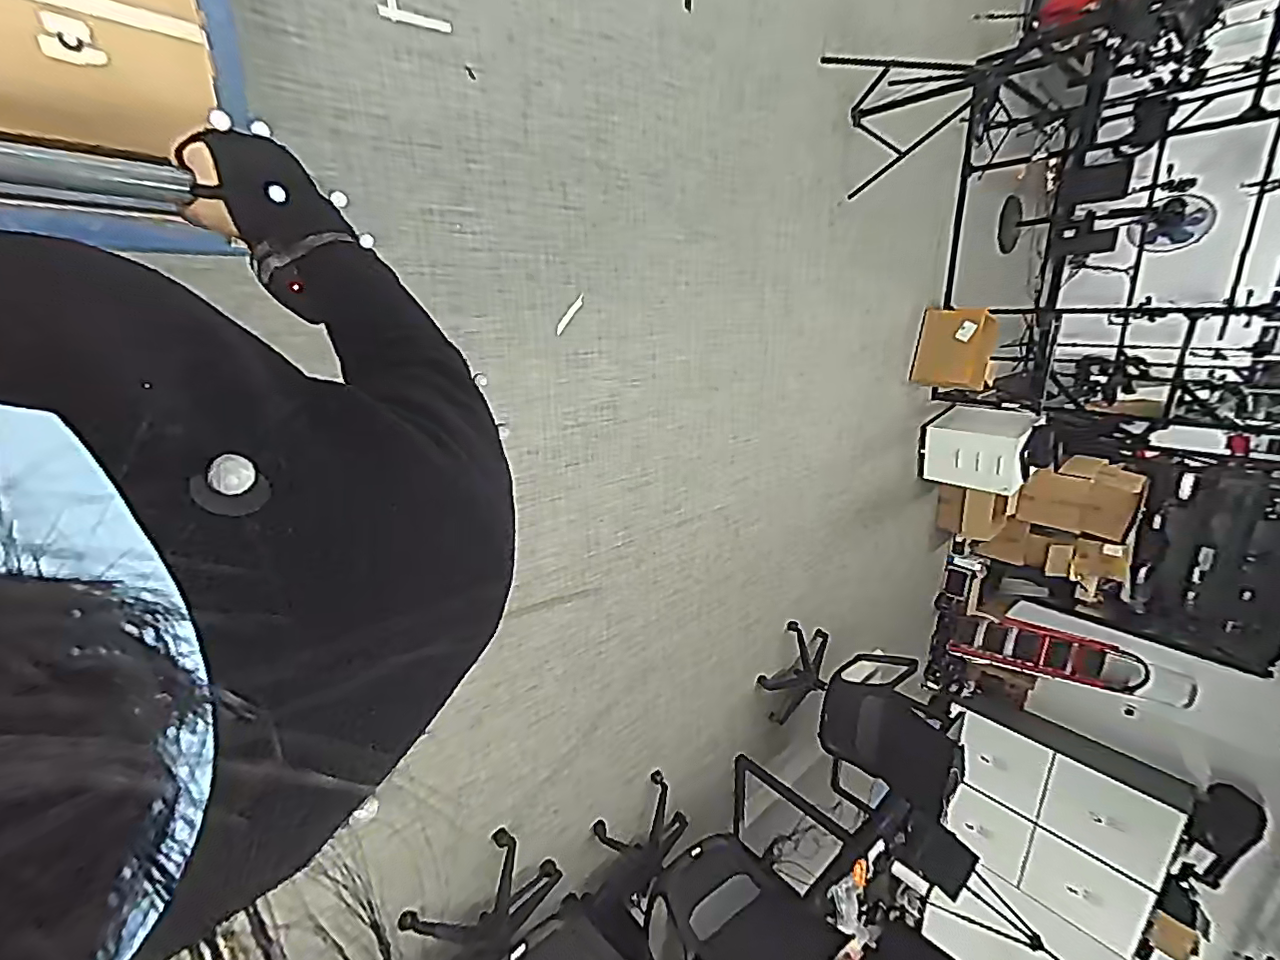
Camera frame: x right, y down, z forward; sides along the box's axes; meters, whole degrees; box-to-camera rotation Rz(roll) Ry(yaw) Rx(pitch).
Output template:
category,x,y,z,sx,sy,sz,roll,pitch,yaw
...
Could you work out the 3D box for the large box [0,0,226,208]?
category,x,y,z,sx,sy,sz,roll,pitch,yaw
large box,-0.836,-0.568,0.701,0.408,0.320,0.320,-14,112,-41
